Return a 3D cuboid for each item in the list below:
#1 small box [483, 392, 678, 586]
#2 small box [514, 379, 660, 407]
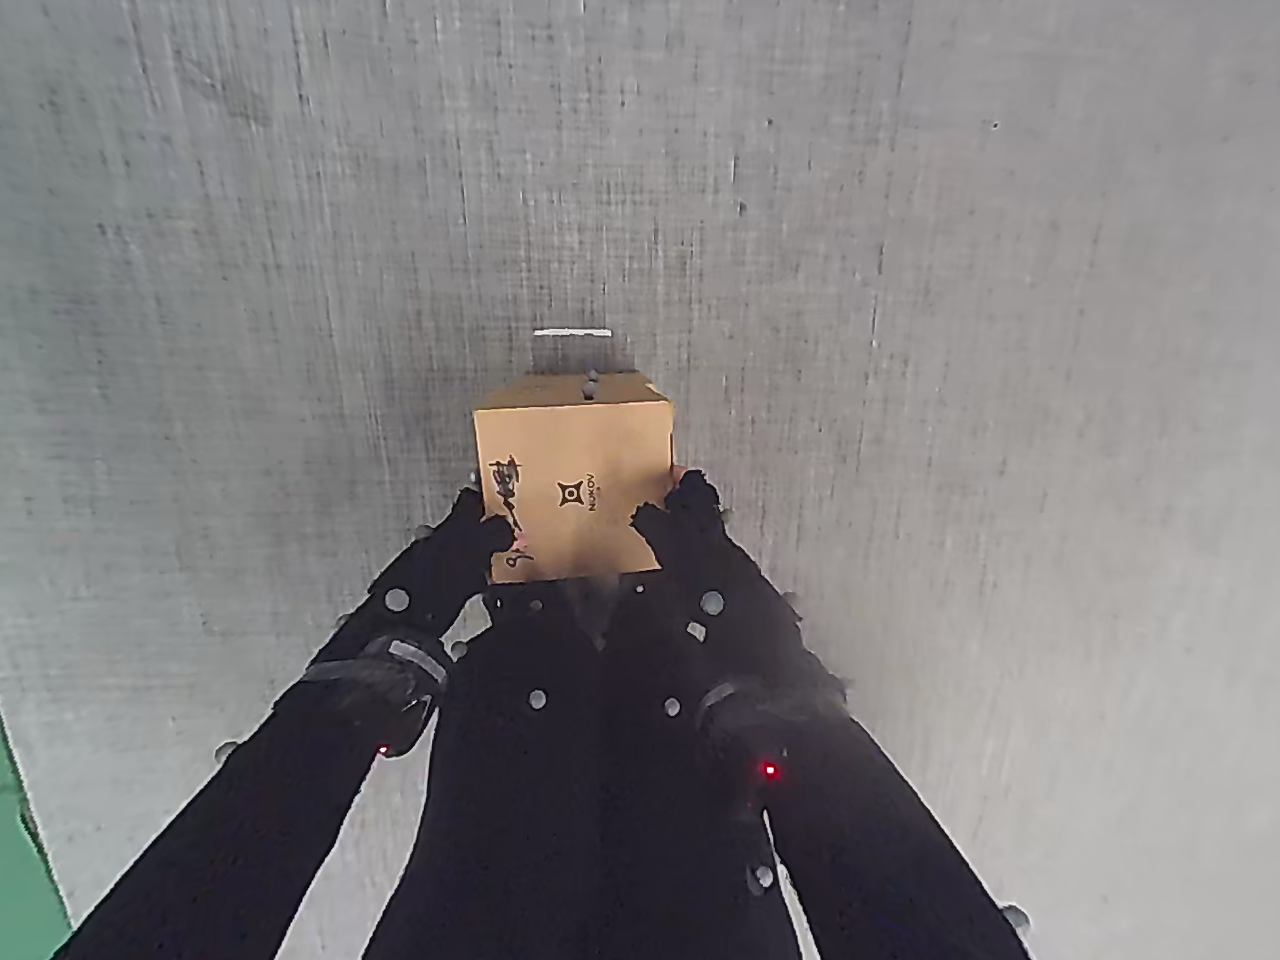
[{"bbox_3d":[-0.062,-0.003,0.576,0.179,0.176,0.168,-3,104,-7],"label":"small box"},{"bbox_3d":[-0.070,-0.048,0.737,0.179,0.176,0.168,-2,104,-5],"label":"small box"}]
